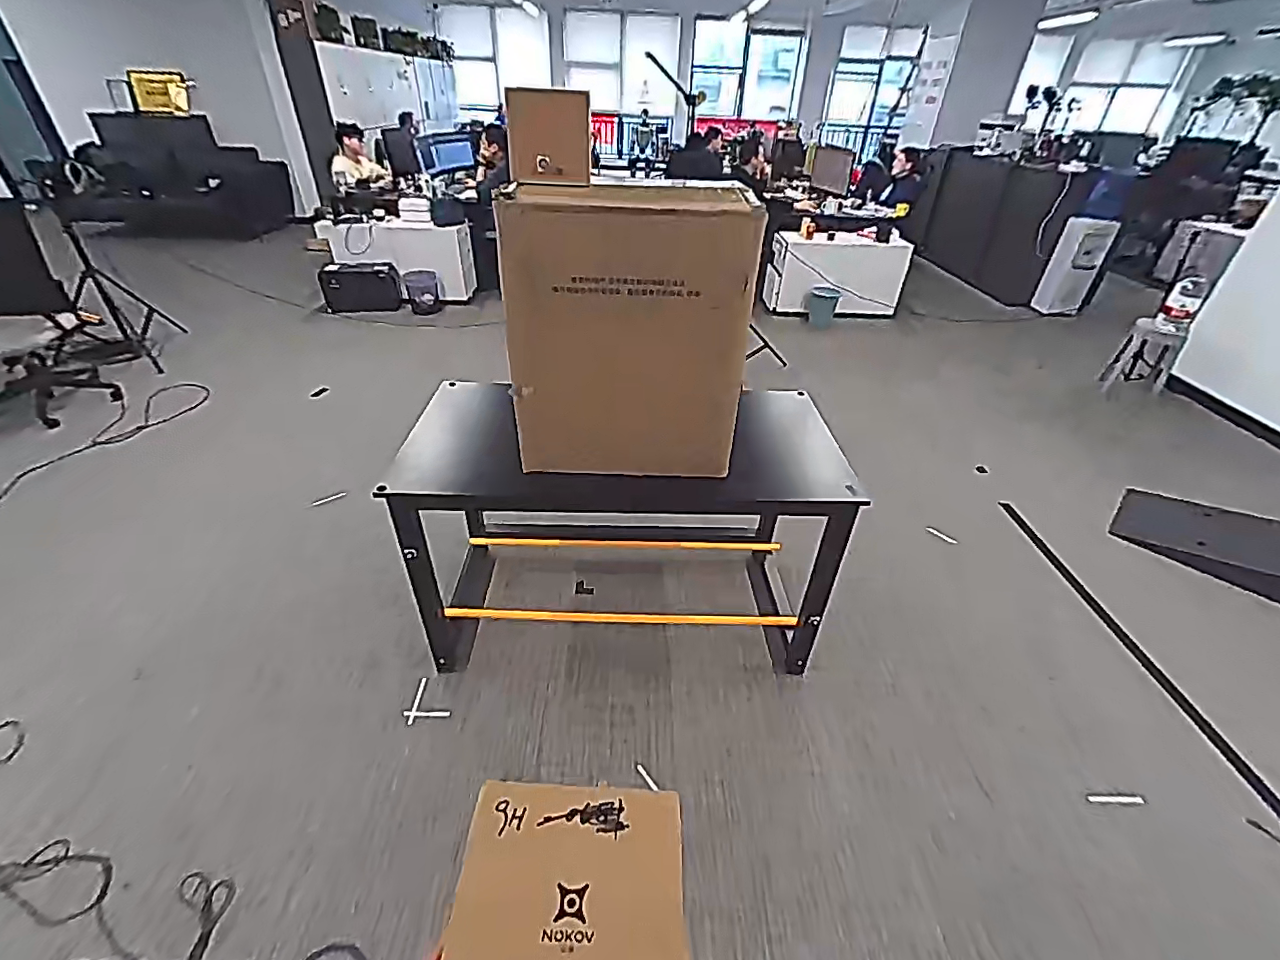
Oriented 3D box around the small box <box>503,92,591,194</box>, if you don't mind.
[{"bbox_3d":[-0.192,-0.719,1.155,0.168,0.176,0.179,-2,35,-4],"label":"small box"}]
